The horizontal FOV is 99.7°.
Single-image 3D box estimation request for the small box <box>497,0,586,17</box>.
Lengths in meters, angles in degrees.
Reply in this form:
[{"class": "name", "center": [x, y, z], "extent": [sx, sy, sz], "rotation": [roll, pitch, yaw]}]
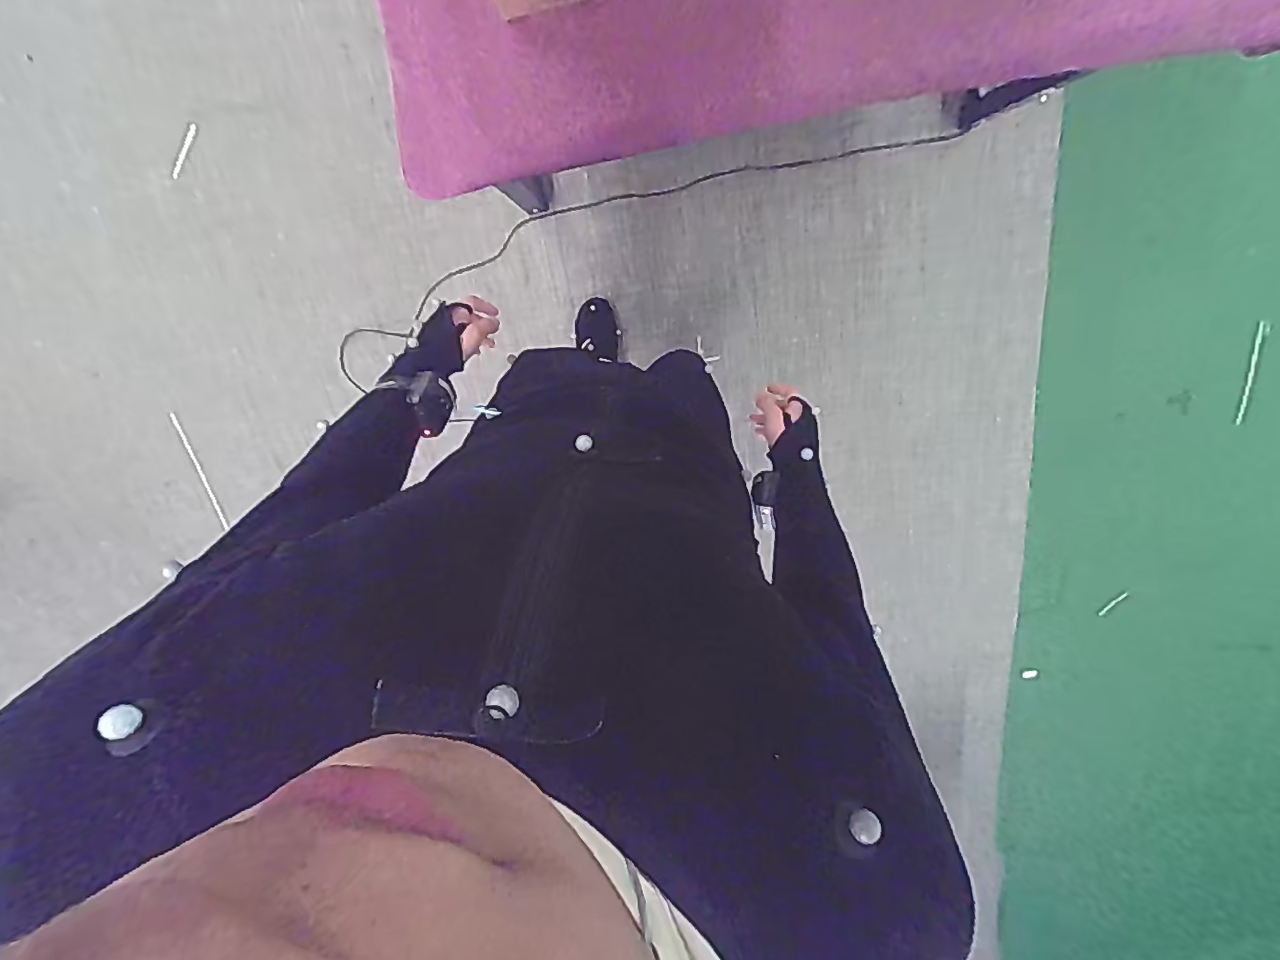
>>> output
[{"class": "small box", "center": [-0.111, -0.651, 0.575], "extent": [0.168, 0.176, 0.179], "rotation": [-12, 110, 2]}]
